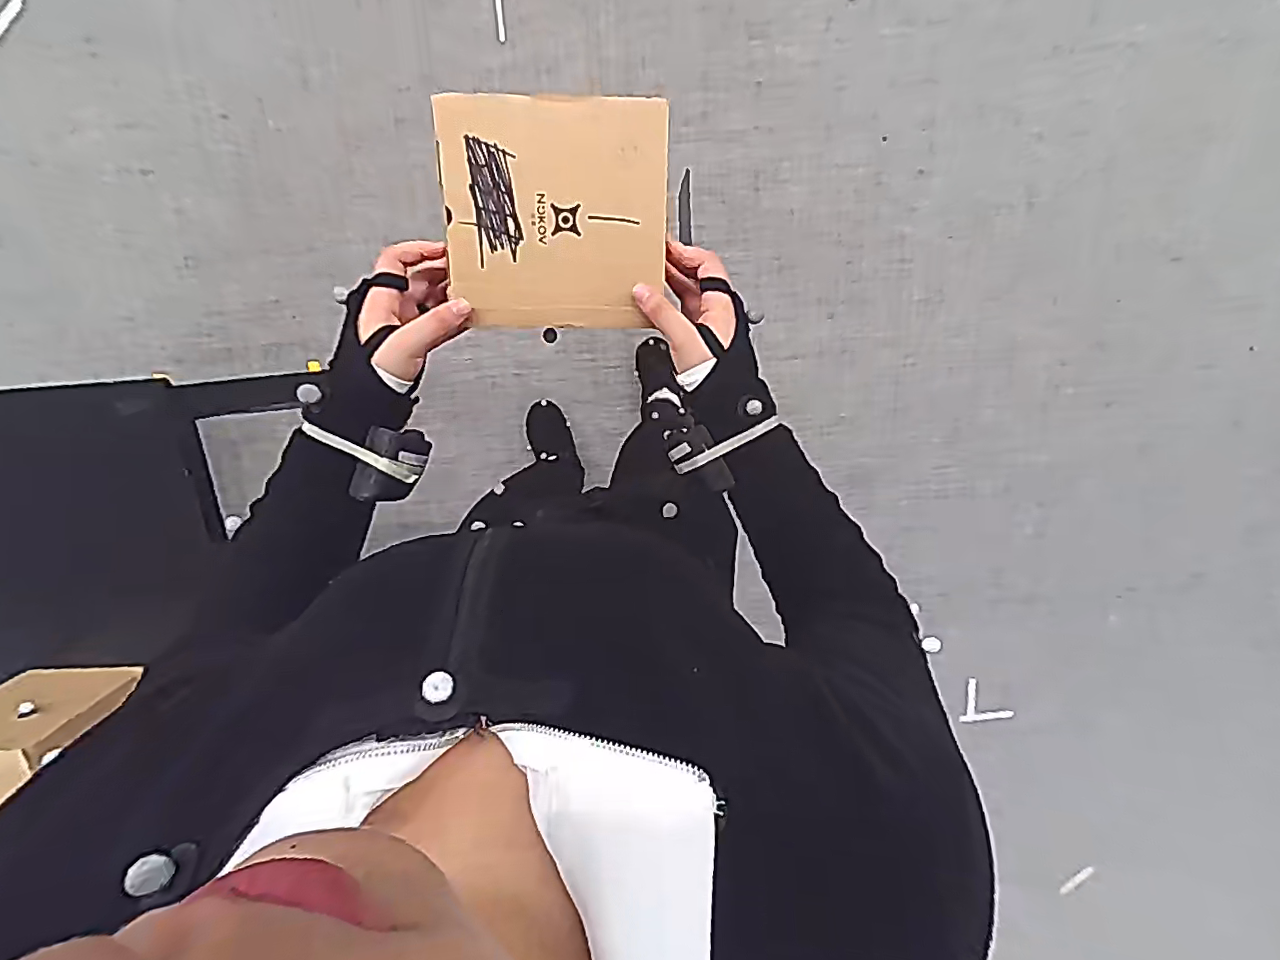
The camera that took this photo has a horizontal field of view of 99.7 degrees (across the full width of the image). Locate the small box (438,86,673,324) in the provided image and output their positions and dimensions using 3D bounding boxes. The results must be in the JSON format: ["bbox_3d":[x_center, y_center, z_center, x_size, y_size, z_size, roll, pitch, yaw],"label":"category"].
[{"bbox_3d":[-0.066,-0.231,0.496,0.179,0.176,0.168,0,108,-2],"label":"small box"}]
